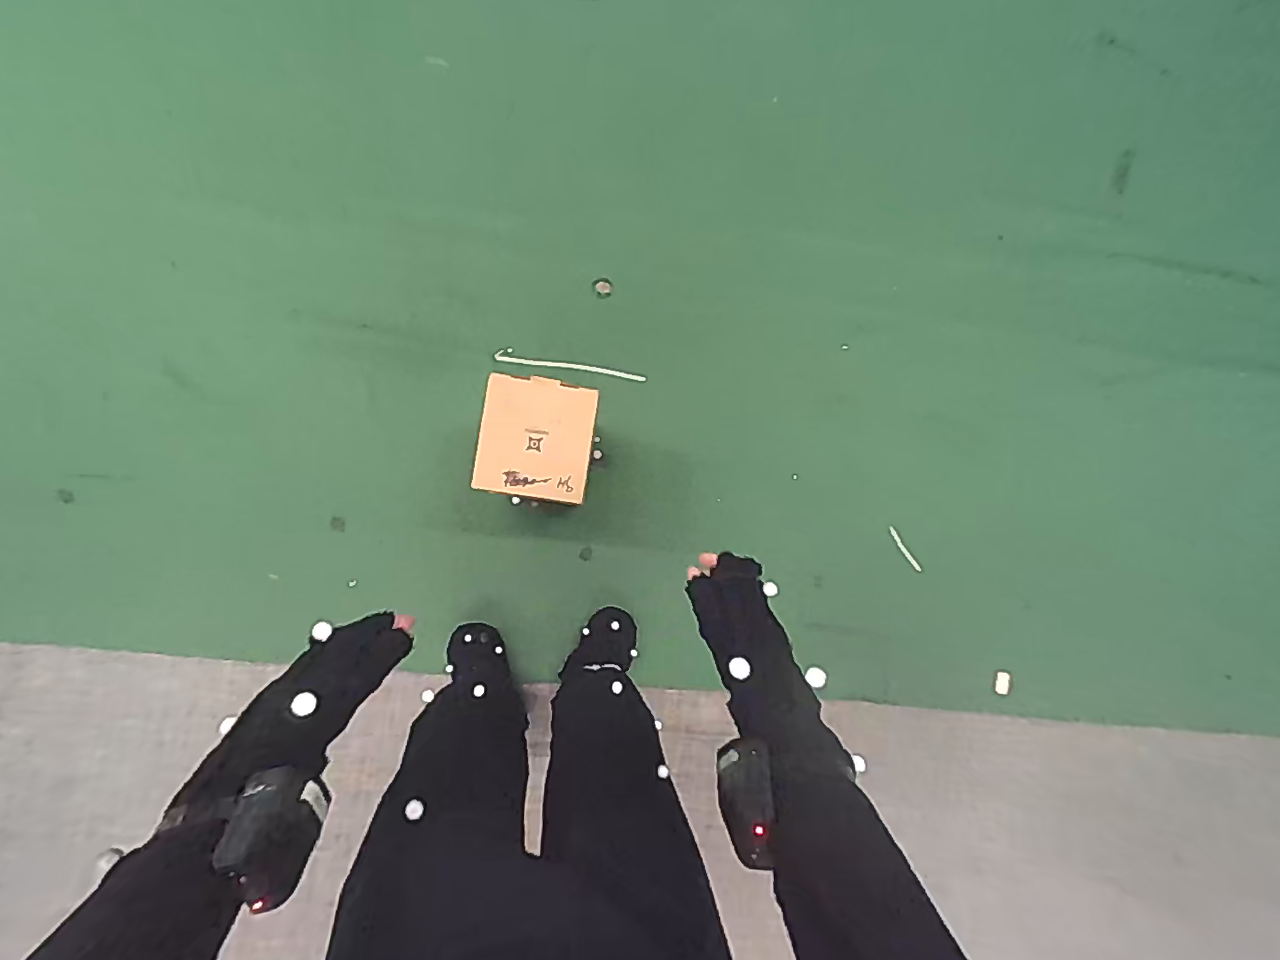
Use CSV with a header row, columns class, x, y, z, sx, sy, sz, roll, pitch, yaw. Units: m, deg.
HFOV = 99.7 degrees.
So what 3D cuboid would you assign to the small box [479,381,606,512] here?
class,x,y,z,sx,sy,sz,roll,pitch,yaw
small box,-0.152,-0.045,0.887,0.168,0.176,0.179,9,86,-4
